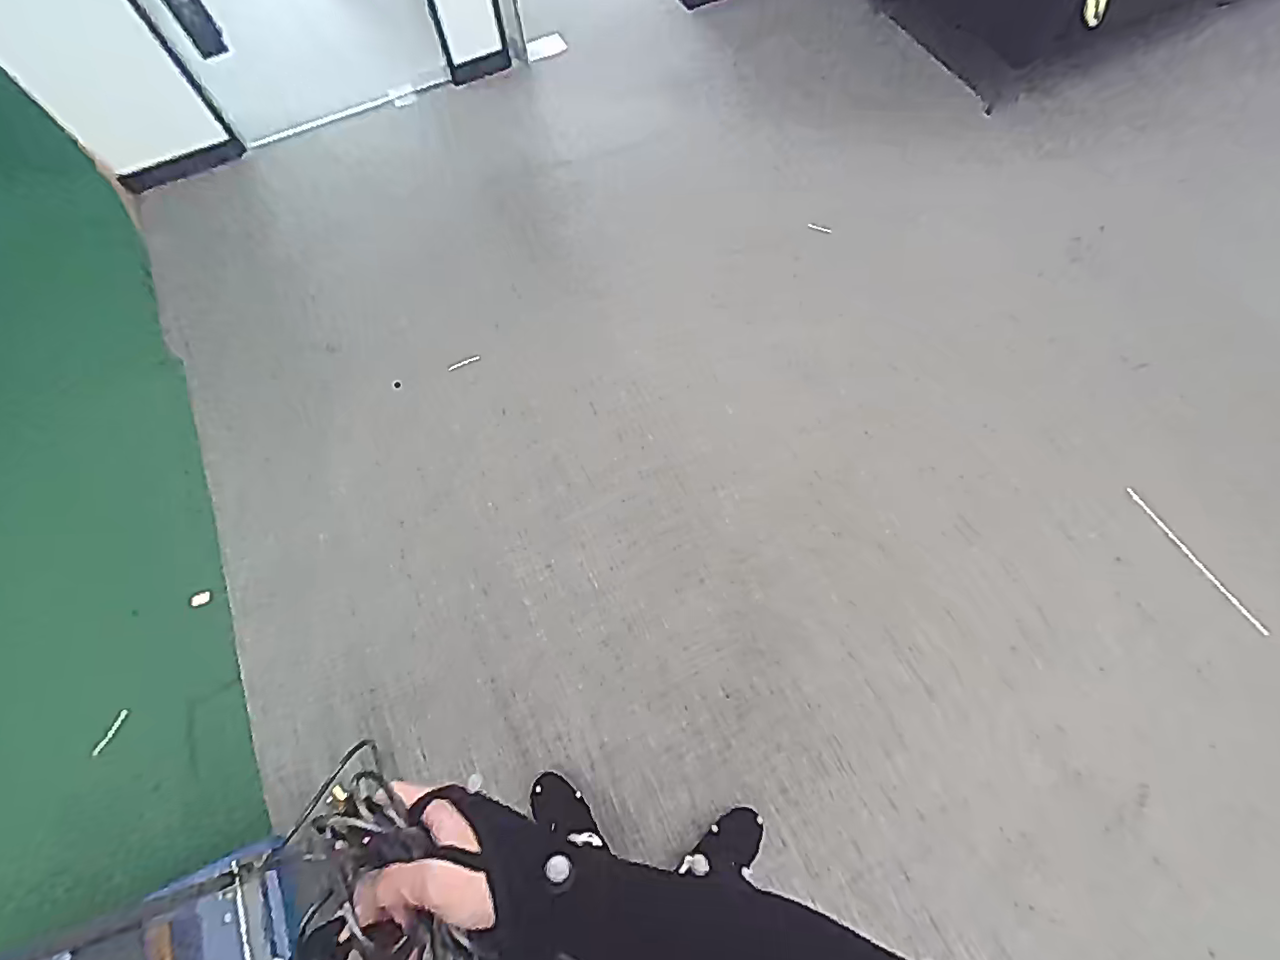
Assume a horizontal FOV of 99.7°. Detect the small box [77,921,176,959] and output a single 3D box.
[{"bbox_3d":[-1.015,0.976,1.004,0.179,0.176,0.168,-23,69,-8],"label":"small box"}]
